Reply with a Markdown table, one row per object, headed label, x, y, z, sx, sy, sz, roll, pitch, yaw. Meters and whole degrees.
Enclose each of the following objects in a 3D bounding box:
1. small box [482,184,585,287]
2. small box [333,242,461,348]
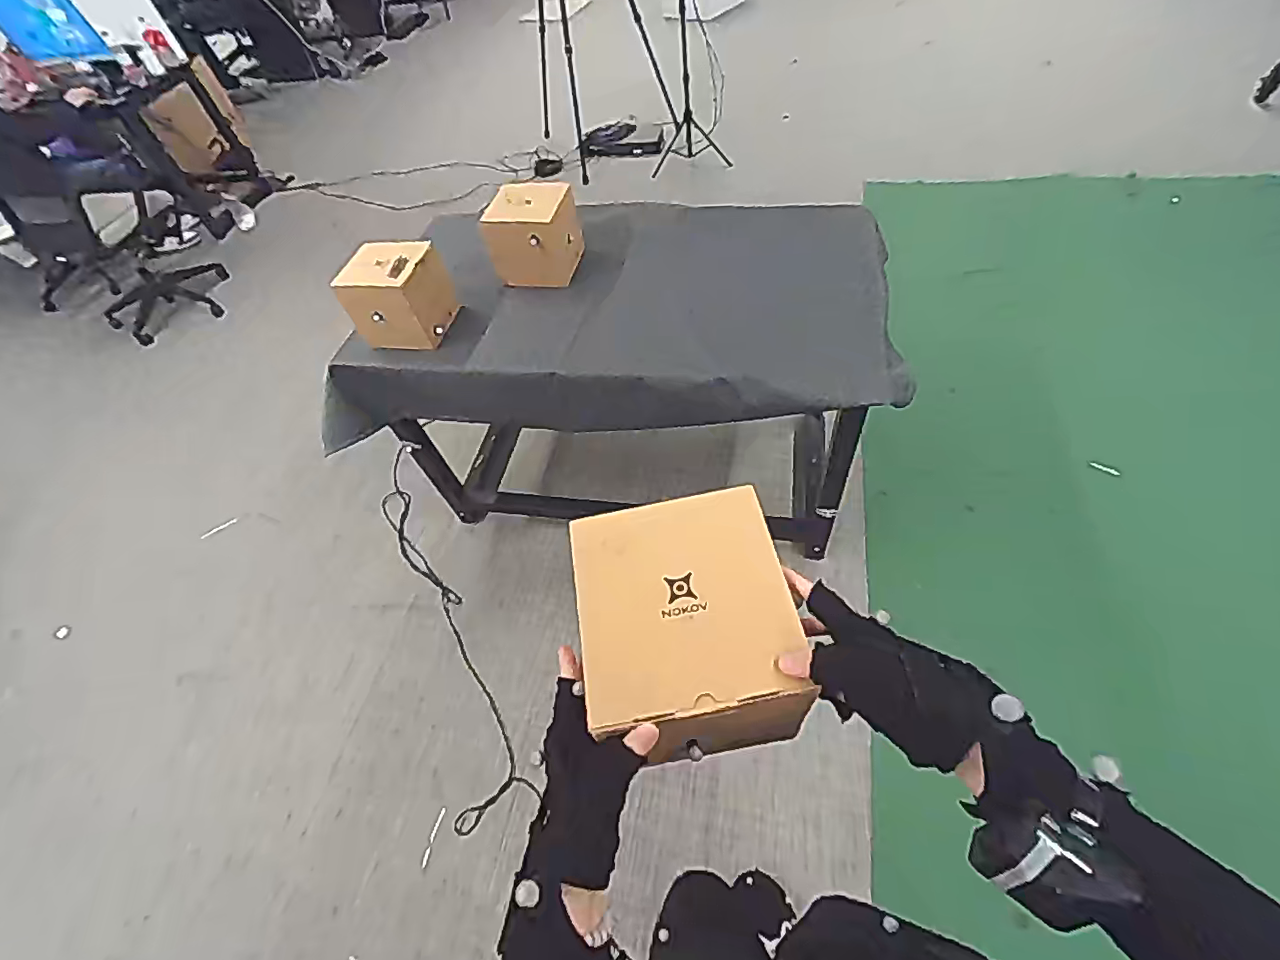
| label | x | y | z | sx | sy | sz | roll | pitch | yaw |
| --- | --- | --- | --- | --- | --- | --- | --- | --- | --- |
| small box | -0.244 | -0.584 | 1.301 | 0.179 | 0.176 | 0.168 | 7 | 56 | 13 |
| small box | -0.535 | -0.415 | 1.224 | 0.179 | 0.176 | 0.168 | 5 | 55 | 13 |
